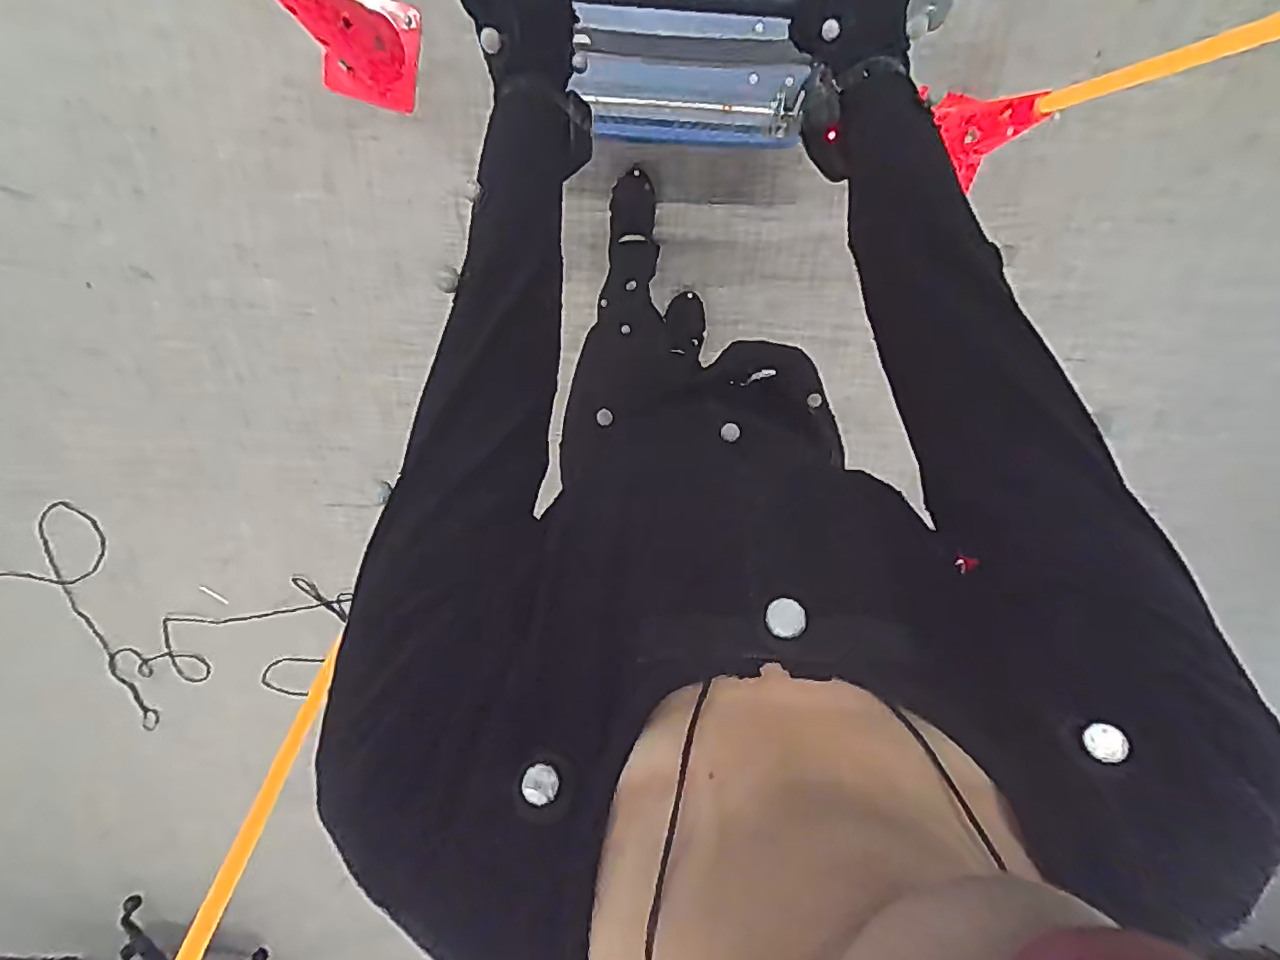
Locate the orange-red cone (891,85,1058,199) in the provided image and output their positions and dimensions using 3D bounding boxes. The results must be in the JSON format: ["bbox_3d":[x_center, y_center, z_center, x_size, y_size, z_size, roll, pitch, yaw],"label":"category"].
[{"bbox_3d":[0.688,-0.700,1.070,0.198,0.360,0.199,13,112,-4],"label":"orange-red cone"}]
